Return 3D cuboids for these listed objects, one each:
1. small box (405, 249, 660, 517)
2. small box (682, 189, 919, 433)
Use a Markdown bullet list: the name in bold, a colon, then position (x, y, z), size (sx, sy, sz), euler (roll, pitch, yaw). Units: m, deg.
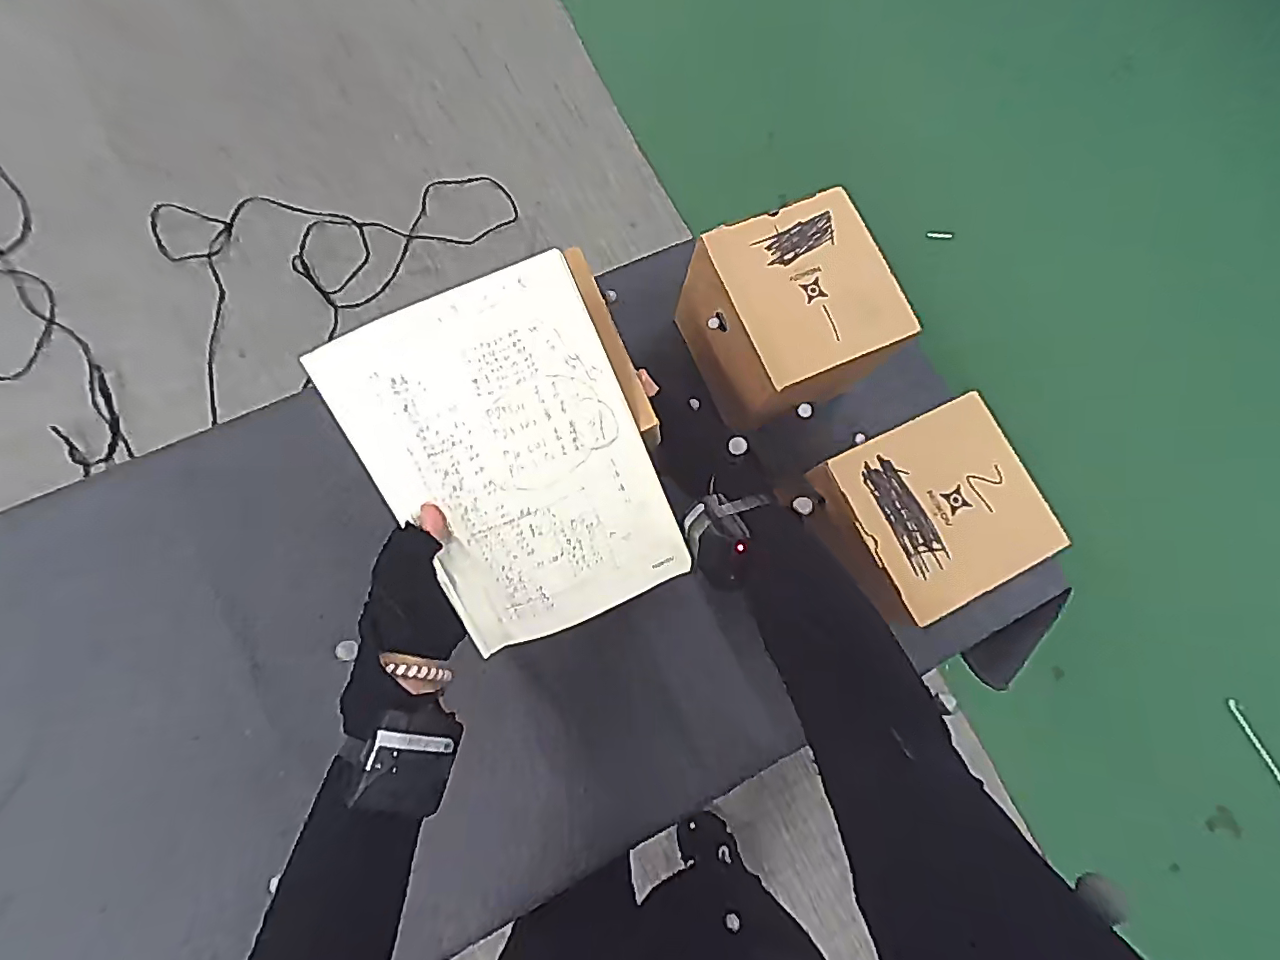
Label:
- **small box**: position (-0.086, -0.074, 0.519), size (0.168, 0.176, 0.179), euler (-24, 78, -1)
- **small box**: position (0.160, -0.176, 0.607), size (0.168, 0.176, 0.179), euler (-22, 81, -9)
